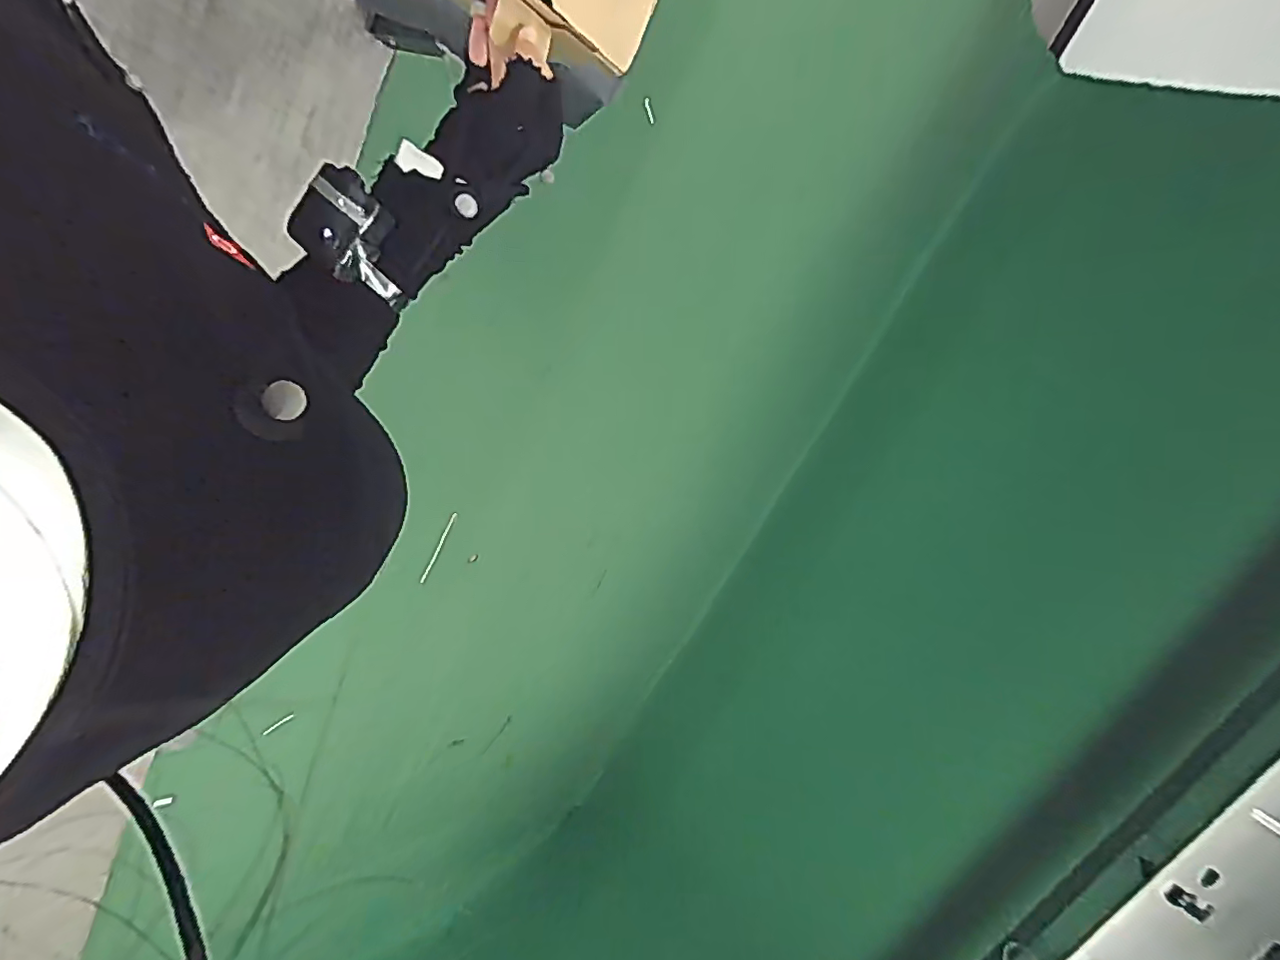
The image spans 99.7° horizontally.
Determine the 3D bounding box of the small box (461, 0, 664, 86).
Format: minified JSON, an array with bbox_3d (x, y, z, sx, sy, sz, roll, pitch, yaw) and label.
[{"bbox_3d":[-0.074,-0.437,0.392,0.168,0.176,0.179,4,122,-48],"label":"small box"}]
